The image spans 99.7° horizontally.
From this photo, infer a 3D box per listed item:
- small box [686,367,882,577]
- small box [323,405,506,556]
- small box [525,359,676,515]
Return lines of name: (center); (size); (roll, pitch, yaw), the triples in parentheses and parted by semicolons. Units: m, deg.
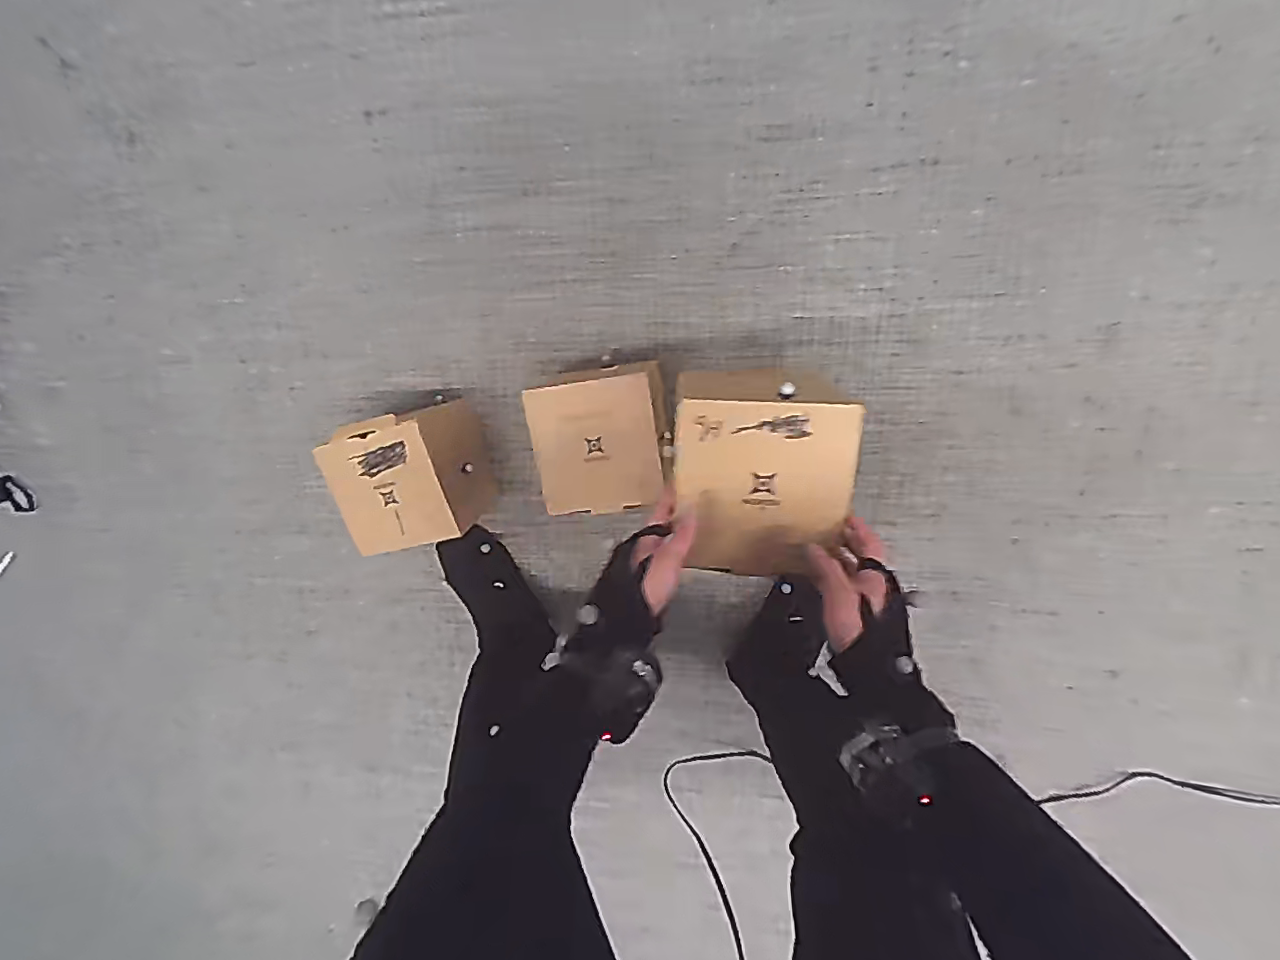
small box: (0.139, -0.018, 0.585); (0.168, 0.176, 0.179); (3, 111, 5)
small box: (-0.331, -0.009, 0.828); (0.168, 0.176, 0.179); (-12, 108, 12)
small box: (-0.043, -0.068, 0.773); (0.168, 0.176, 0.179); (-8, 106, 9)
